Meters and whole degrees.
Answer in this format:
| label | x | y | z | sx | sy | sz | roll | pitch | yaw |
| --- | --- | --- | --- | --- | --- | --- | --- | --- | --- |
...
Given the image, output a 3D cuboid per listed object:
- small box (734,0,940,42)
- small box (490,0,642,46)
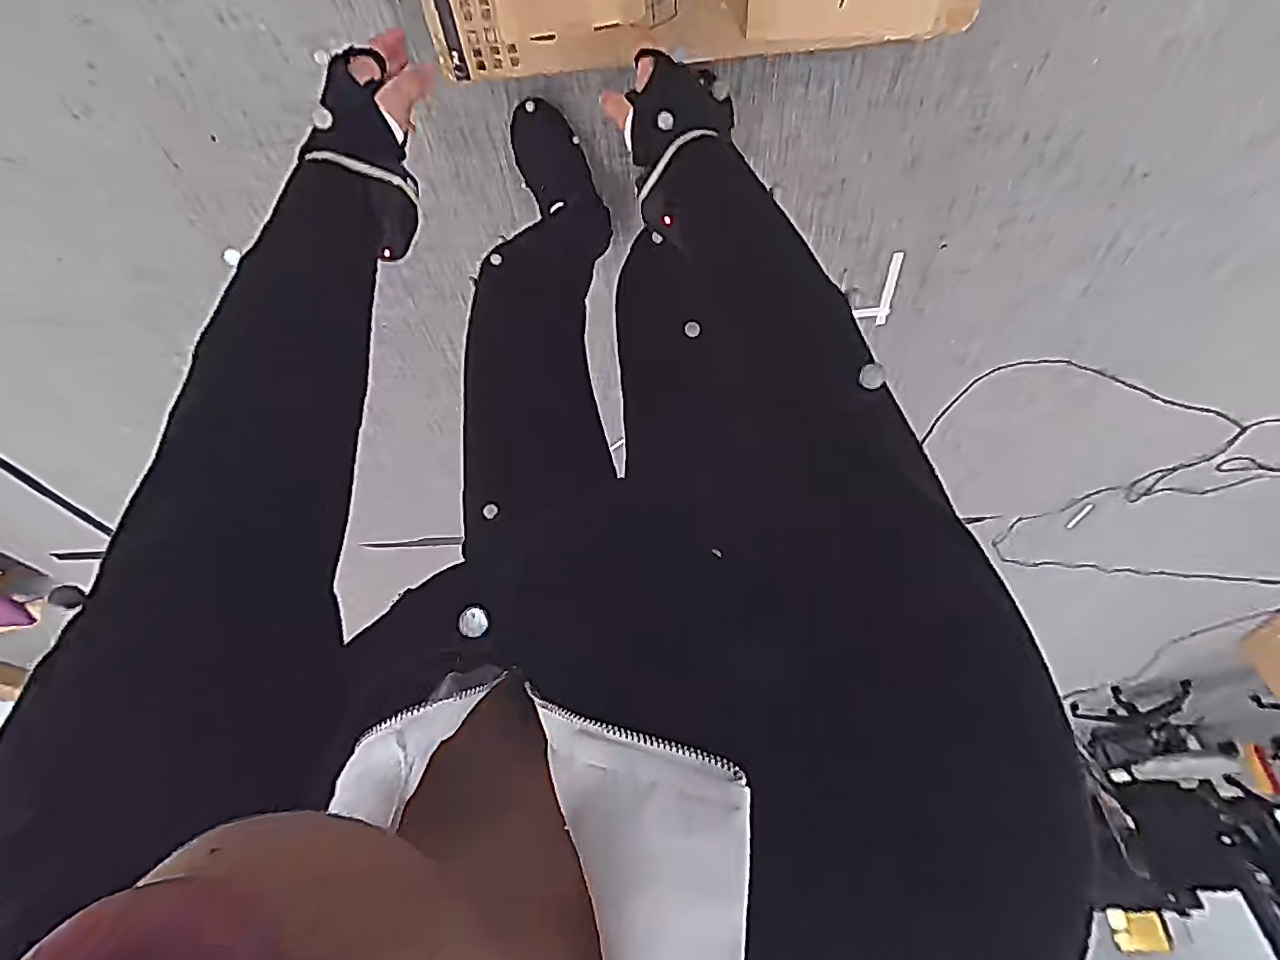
| label | x | y | z | sx | sy | sz | roll | pitch | yaw |
| --- | --- | --- | --- | --- | --- | --- | --- | --- | --- |
| small box | 0.171 | -0.507 | 0.463 | 0.168 | 0.176 | 0.179 | -1 | 142 | 1 |
| small box | -0.086 | -0.613 | 0.588 | 0.168 | 0.176 | 0.179 | -5 | 142 | 5 |
